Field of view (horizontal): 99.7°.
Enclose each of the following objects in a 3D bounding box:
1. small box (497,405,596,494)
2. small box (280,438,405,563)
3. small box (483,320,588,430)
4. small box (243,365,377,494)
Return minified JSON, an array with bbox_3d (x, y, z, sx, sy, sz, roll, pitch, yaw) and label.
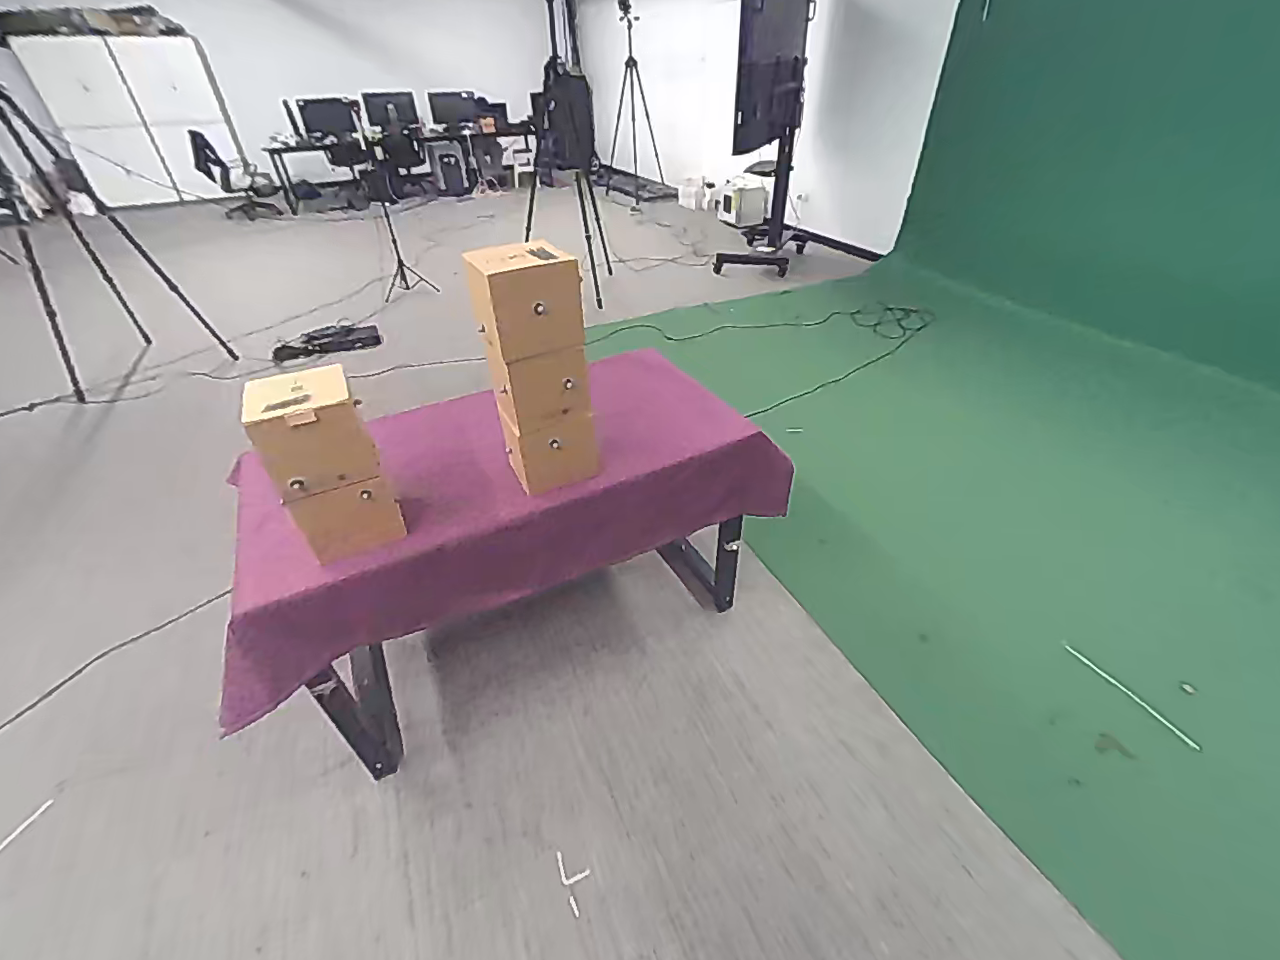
[{"bbox_3d":[-0.215,-0.090,1.262,0.179,0.176,0.168,-18,41,-20],"label":"small box"},{"bbox_3d":[-0.606,0.041,1.108,0.179,0.176,0.168,-18,41,-22],"label":"small box"},{"bbox_3d":[-0.221,-0.222,1.167,0.168,0.176,0.179,-19,40,-22],"label":"small box"},{"bbox_3d":[-0.609,-0.090,1.010,0.168,0.176,0.179,-18,39,-22],"label":"small box"}]
